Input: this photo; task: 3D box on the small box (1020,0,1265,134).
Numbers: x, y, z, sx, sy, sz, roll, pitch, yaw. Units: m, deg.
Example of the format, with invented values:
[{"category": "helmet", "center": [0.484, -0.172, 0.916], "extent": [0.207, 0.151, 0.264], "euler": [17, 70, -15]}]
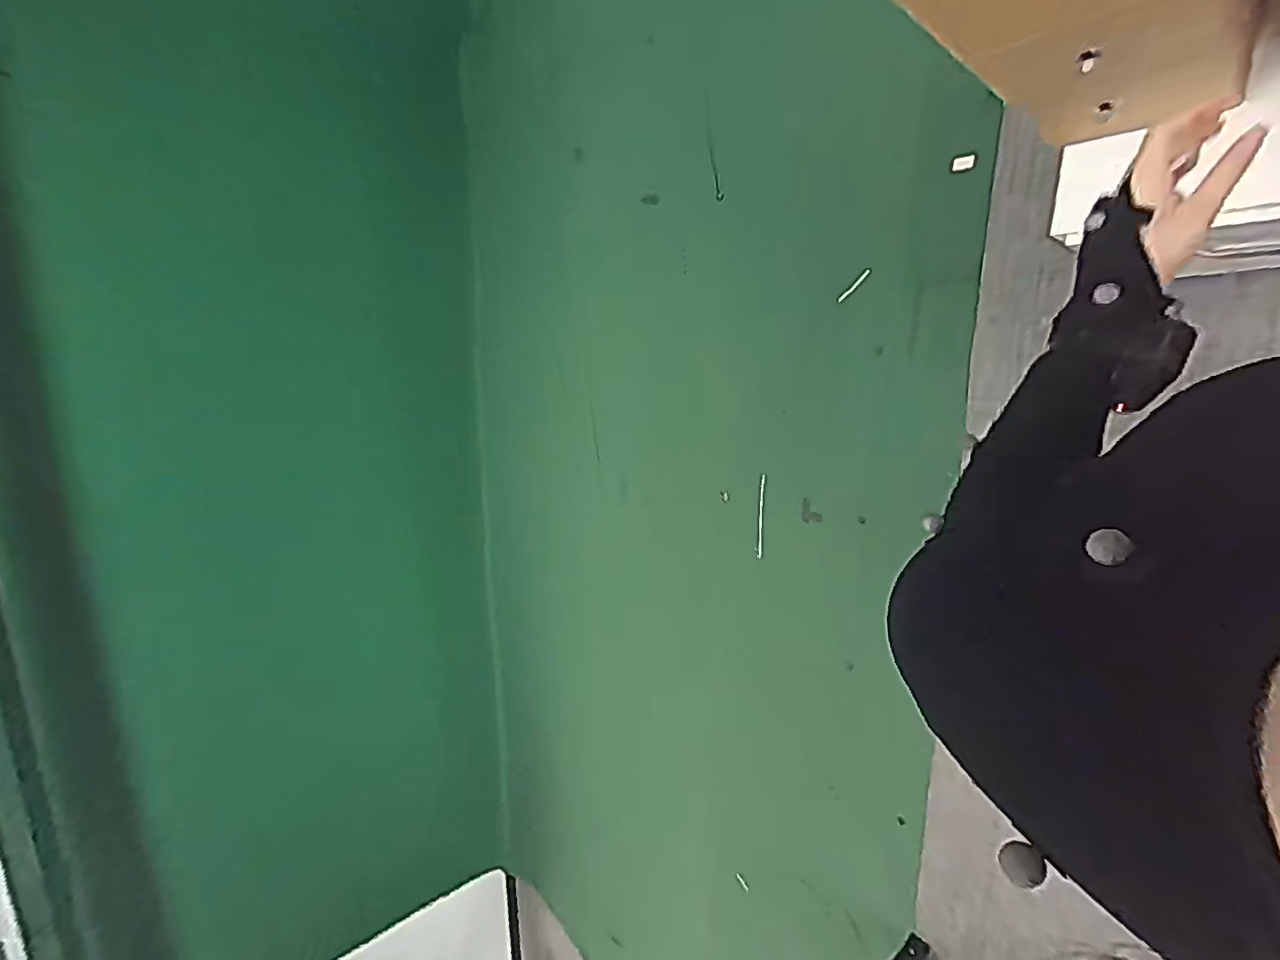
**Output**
[{"category": "small box", "center": [0.563, -0.517, 0.603], "extent": [0.179, 0.176, 0.168], "euler": [15, 109, 47]}]

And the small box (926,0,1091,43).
[{"category": "small box", "center": [0.310, -0.474, 0.399], "extent": [0.179, 0.176, 0.168], "euler": [15, 108, 48]}]
